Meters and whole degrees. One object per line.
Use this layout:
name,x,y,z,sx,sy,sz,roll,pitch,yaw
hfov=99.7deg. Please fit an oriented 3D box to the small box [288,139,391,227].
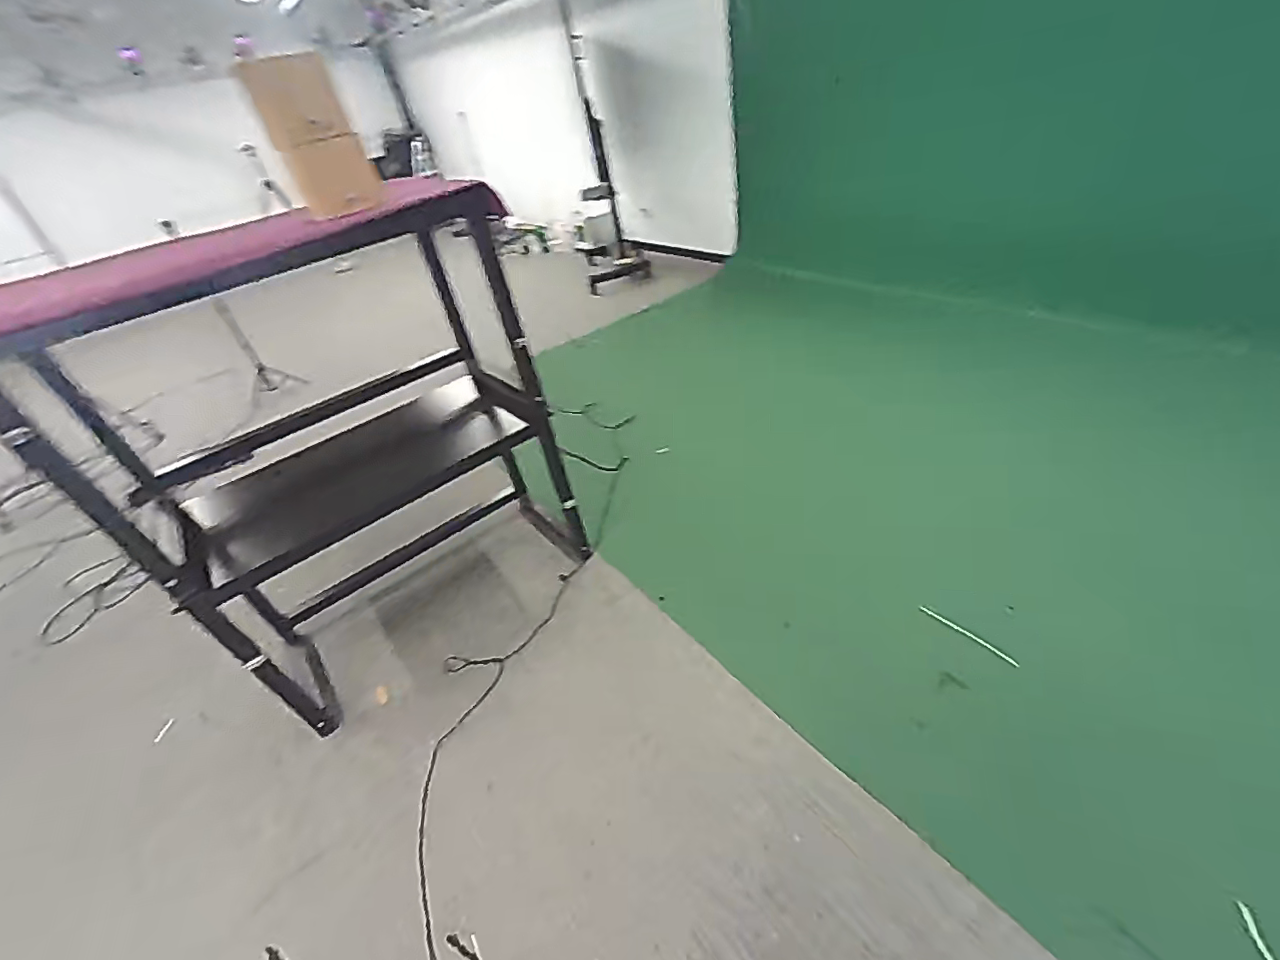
small box,-0.785,-0.783,1.427,0.179,0.176,0.168,-32,39,-25
